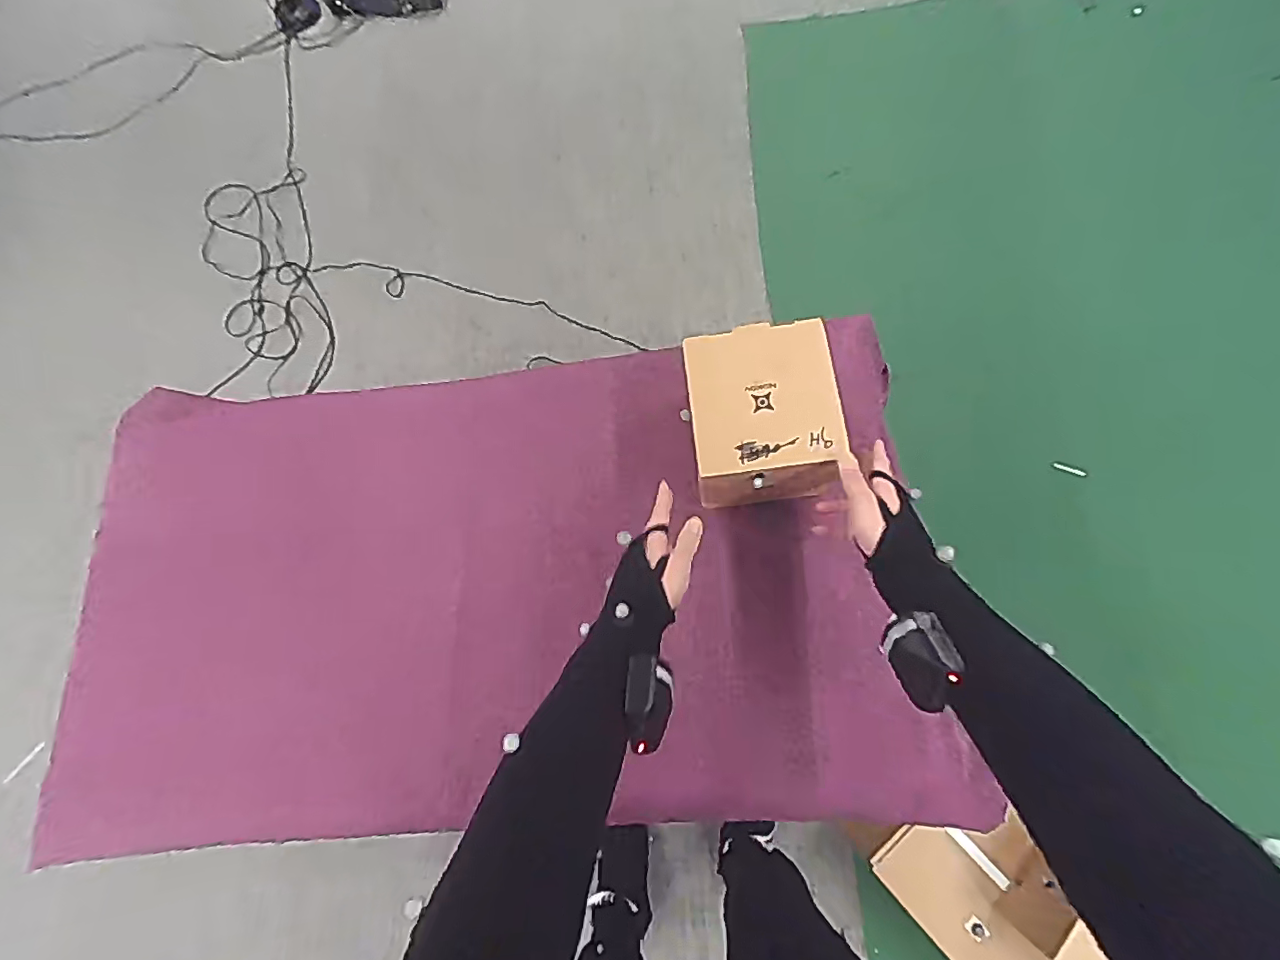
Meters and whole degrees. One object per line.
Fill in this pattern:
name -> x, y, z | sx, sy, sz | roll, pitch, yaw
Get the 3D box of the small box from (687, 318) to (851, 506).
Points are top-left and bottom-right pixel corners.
small box -> 0.152, -0.077, 0.691 | 0.168, 0.176, 0.179 | -7, 73, 7

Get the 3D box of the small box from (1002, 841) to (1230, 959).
small box -> 0.708, 0.694, 0.826 | 0.179, 0.176, 0.168 | 40, 81, 16
